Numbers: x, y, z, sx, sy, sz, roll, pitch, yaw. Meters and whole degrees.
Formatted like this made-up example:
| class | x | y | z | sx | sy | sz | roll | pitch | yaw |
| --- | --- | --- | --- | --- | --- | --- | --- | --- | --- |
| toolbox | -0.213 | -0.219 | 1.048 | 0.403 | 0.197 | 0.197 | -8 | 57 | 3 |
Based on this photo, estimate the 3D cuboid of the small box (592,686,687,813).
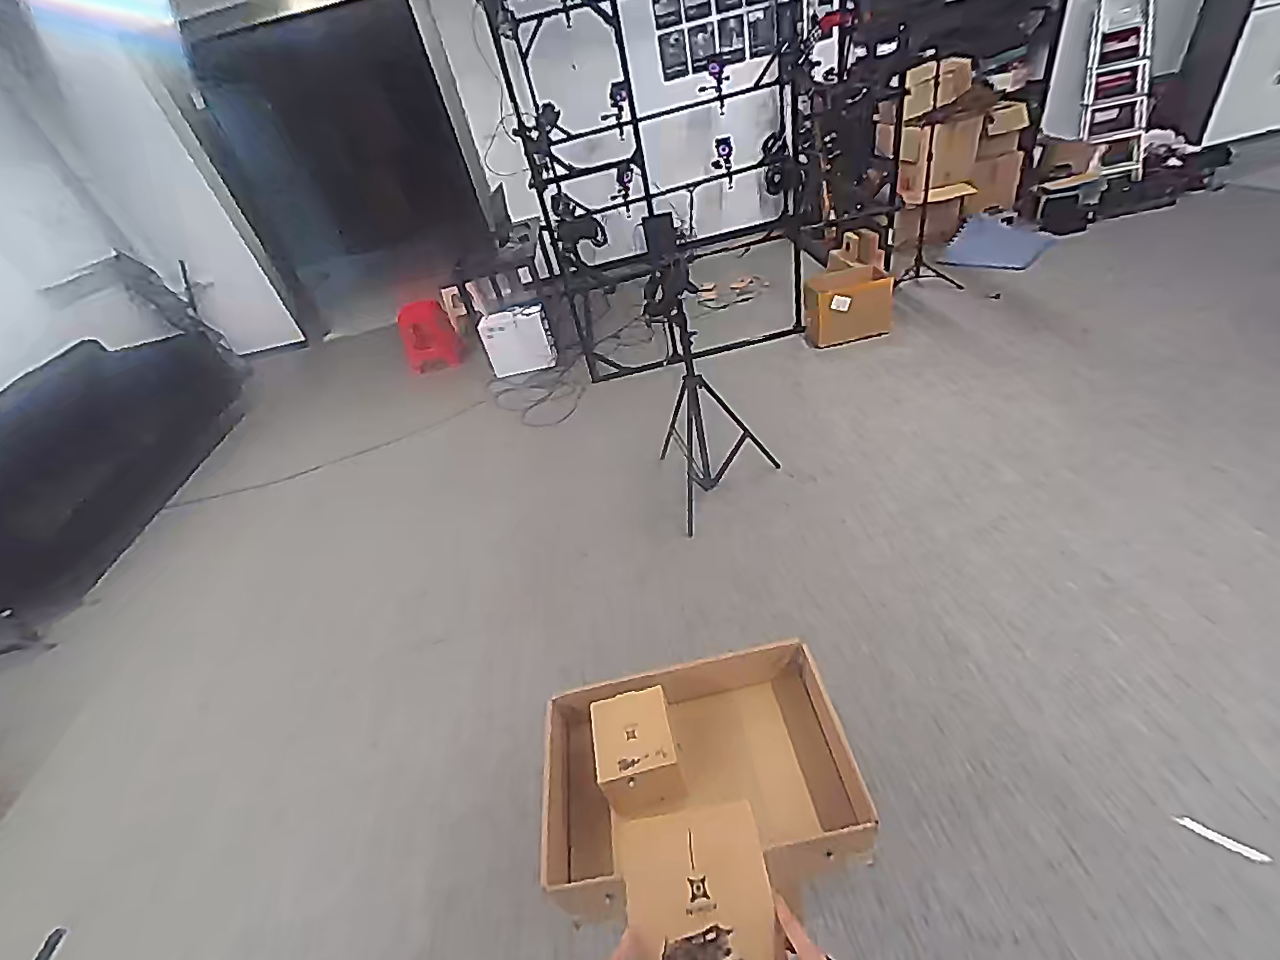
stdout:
| class | x | y | z | sx | sy | sz | roll | pitch | yaw |
| --- | --- | --- | --- | --- | --- | --- | --- | --- | --- |
| small box | -0.003 | 0.589 | 1.183 | 0.168 | 0.176 | 0.179 | -15 | 37 | 0 |

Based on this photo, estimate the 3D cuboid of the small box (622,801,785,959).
| class | x | y | z | sx | sy | sz | roll | pitch | yaw |
| --- | --- | --- | --- | --- | --- | --- | --- | --- | --- |
| small box | 0.079 | 0.527 | 0.669 | 0.168 | 0.176 | 0.179 | -11 | 45 | 1 |
